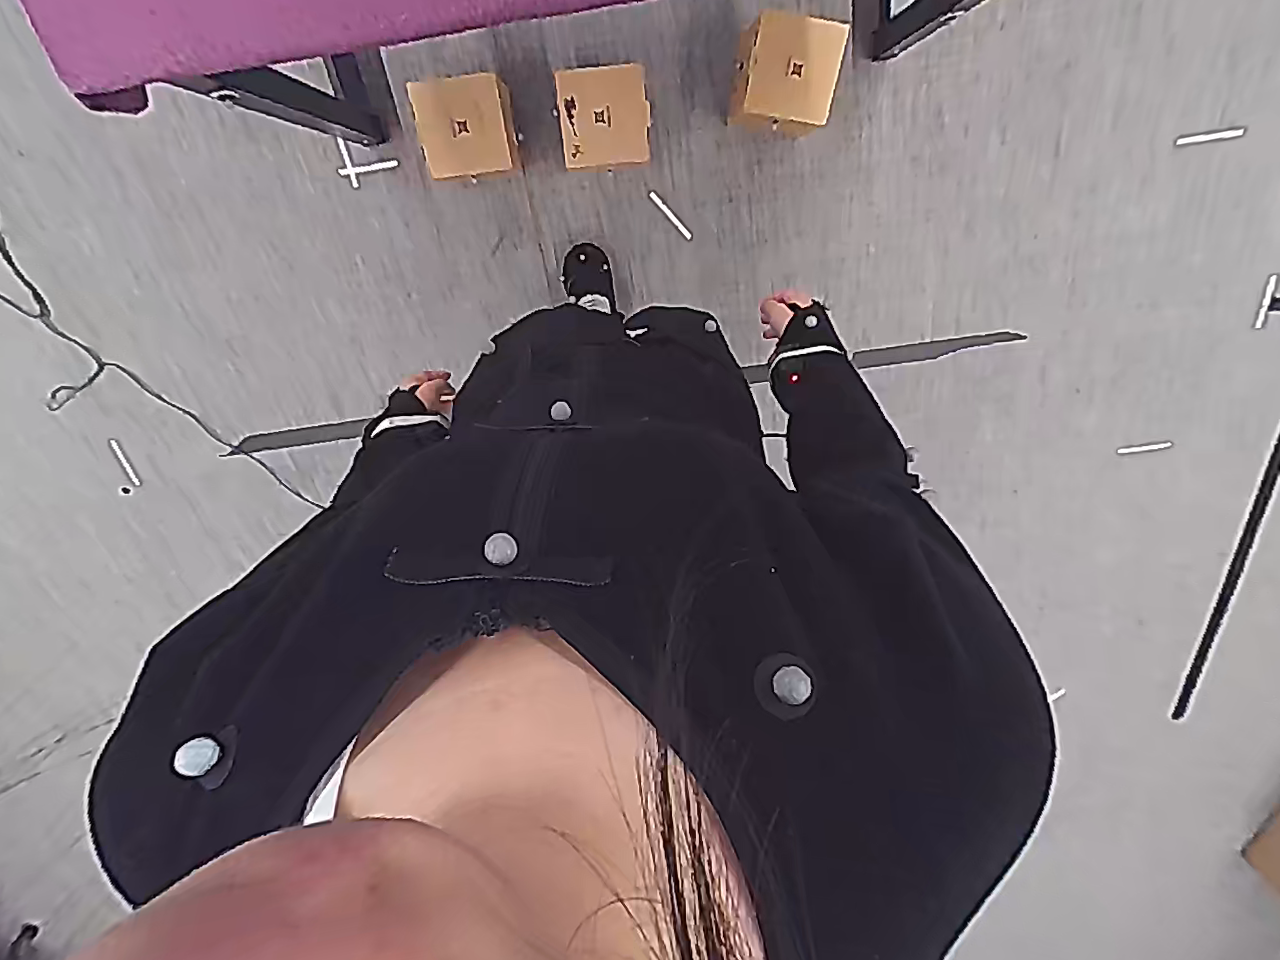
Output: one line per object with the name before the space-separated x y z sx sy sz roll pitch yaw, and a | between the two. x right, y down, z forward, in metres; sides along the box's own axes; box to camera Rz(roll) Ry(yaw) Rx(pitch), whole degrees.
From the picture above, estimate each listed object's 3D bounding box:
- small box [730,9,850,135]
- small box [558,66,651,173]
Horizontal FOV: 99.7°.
small box | 0.299 -0.830 1.119 0.179 0.176 0.168 7 115 -5
small box | -0.073 -0.753 1.141 0.179 0.176 0.168 -4 116 0
